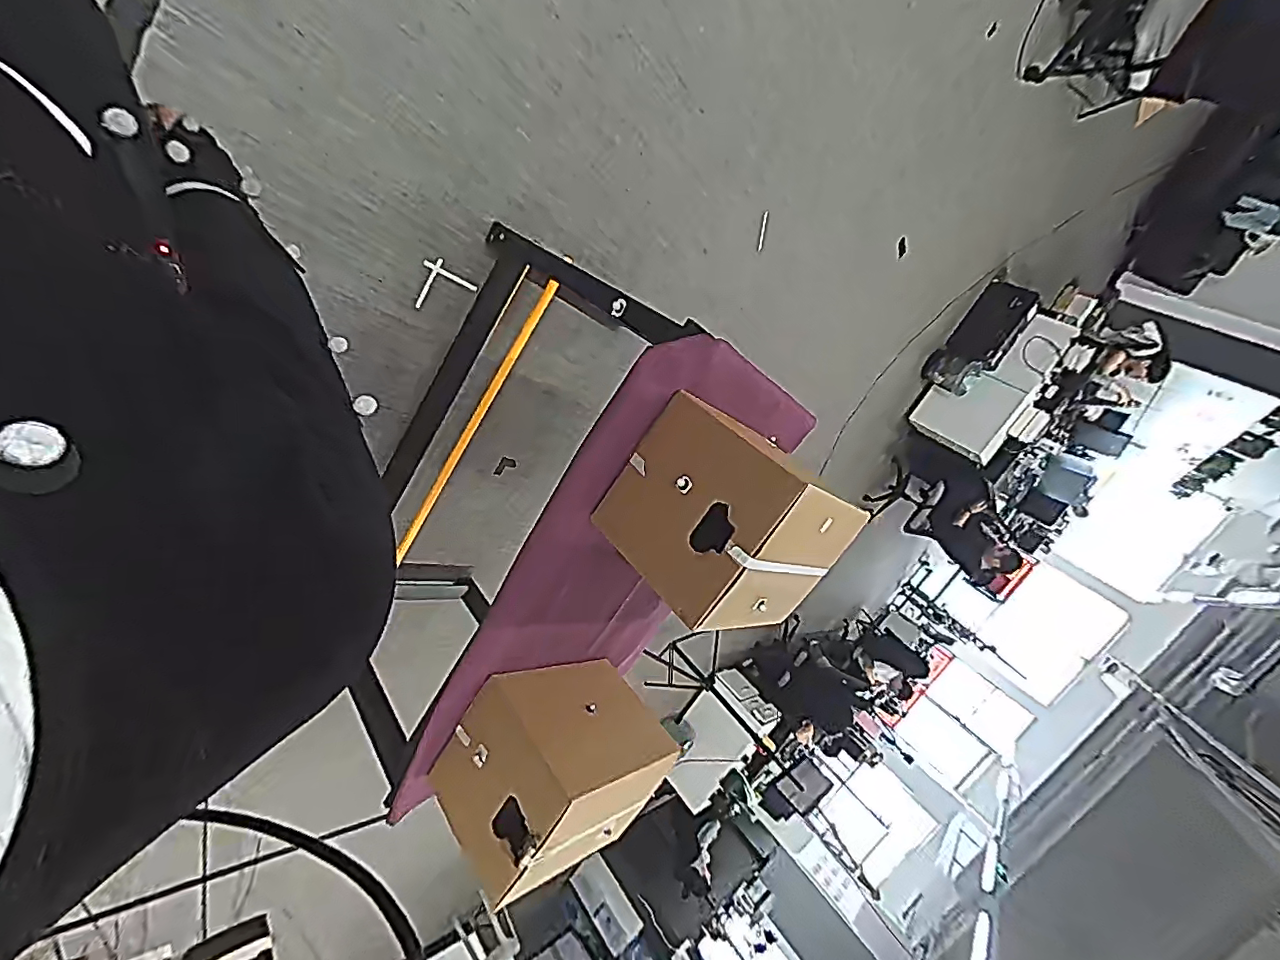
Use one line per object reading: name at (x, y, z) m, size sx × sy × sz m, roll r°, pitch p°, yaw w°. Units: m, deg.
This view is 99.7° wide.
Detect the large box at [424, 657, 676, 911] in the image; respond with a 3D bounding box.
large box at (-0.198, 0.646, 1.236) m, size 0.408 × 0.320 × 0.320 m, roll 16°, pitch 111°, yaw -55°
